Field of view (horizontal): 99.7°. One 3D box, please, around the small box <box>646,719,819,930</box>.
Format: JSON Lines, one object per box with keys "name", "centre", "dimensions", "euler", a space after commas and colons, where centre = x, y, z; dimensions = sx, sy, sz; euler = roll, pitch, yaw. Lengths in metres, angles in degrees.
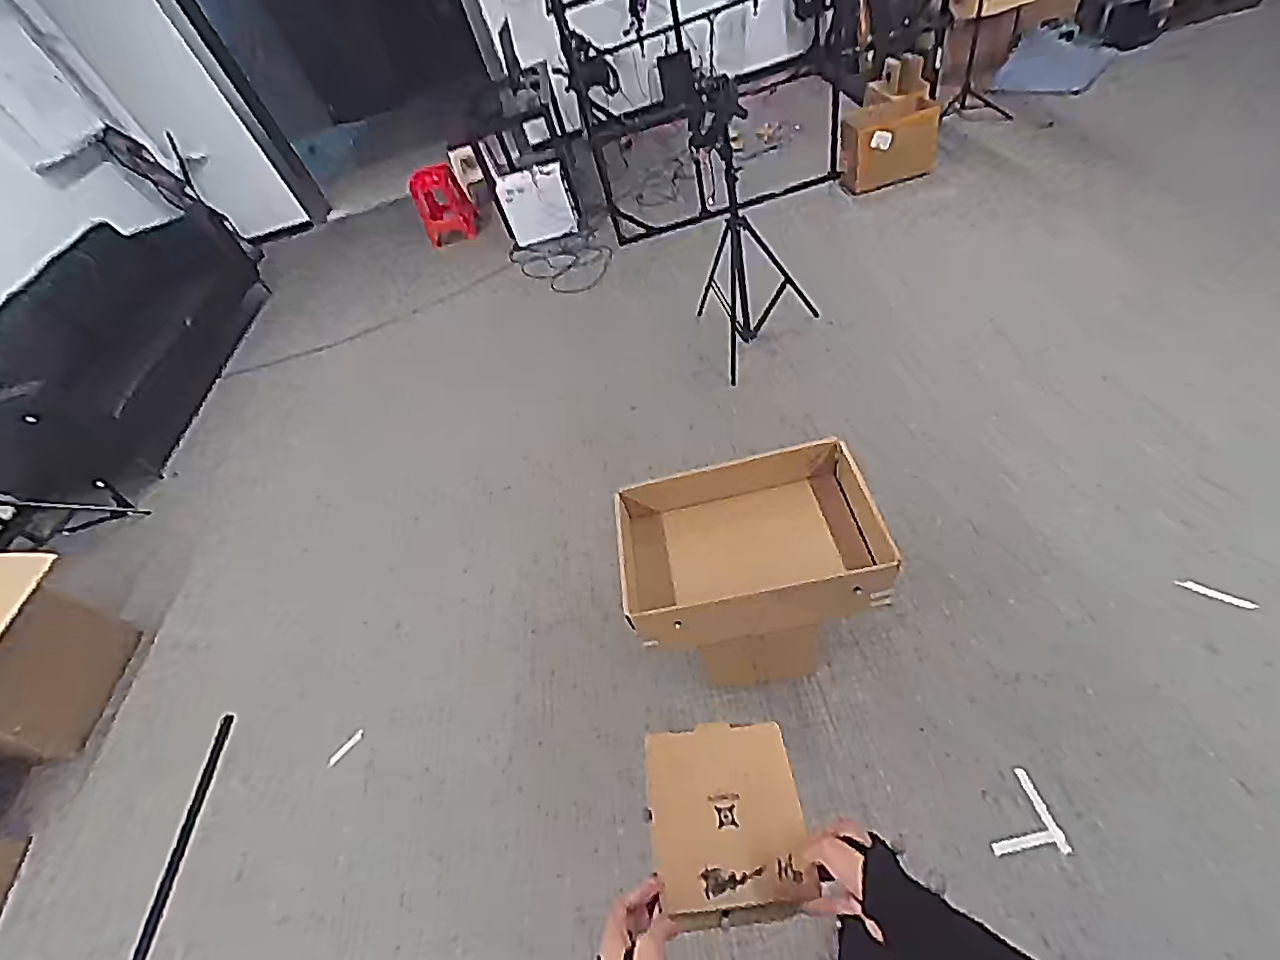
{"name": "small box", "centre": [0.095, 0.416, 0.655], "dimensions": [0.168, 0.176, 0.179], "euler": [-4, 45, -3]}
